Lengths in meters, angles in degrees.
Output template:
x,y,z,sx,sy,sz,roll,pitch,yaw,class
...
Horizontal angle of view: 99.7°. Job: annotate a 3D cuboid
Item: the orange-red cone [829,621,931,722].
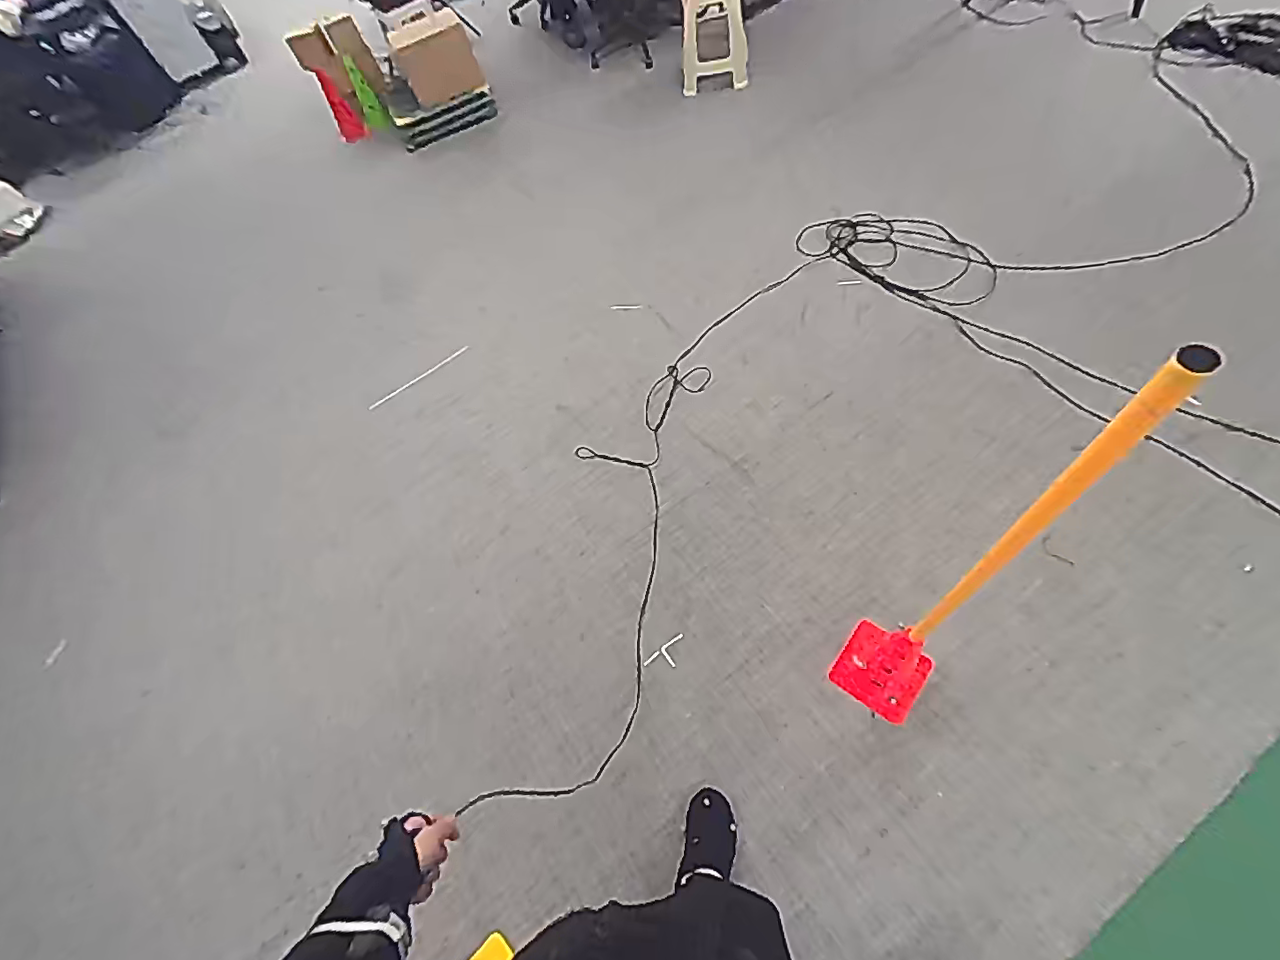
x,y,z,sx,sy,sz,roll,pitch,yaw,class
0.590,0.400,1.244,0.198,0.360,0.199,33,70,25,orange-red cone
